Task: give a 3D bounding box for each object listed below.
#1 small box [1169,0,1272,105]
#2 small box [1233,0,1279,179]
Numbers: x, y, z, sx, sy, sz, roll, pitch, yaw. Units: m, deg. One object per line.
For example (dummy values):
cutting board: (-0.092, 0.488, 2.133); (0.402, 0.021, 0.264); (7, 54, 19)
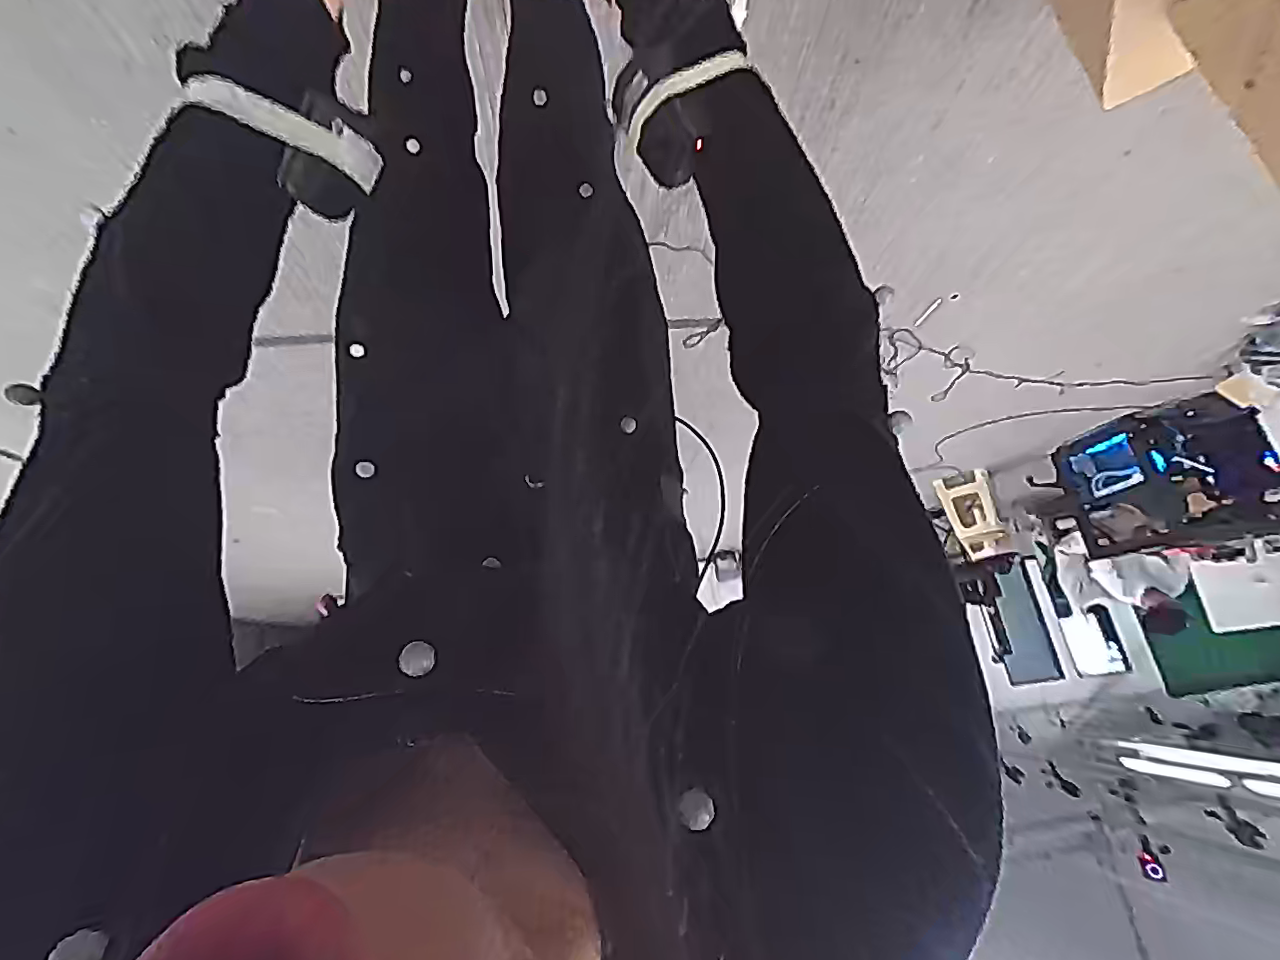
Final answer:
small box: (0.704, -0.557, 0.555); (0.179, 0.176, 0.168); (-19, 158, 32)
small box: (0.727, -0.403, 0.501); (0.179, 0.176, 0.168); (-20, 157, 32)
